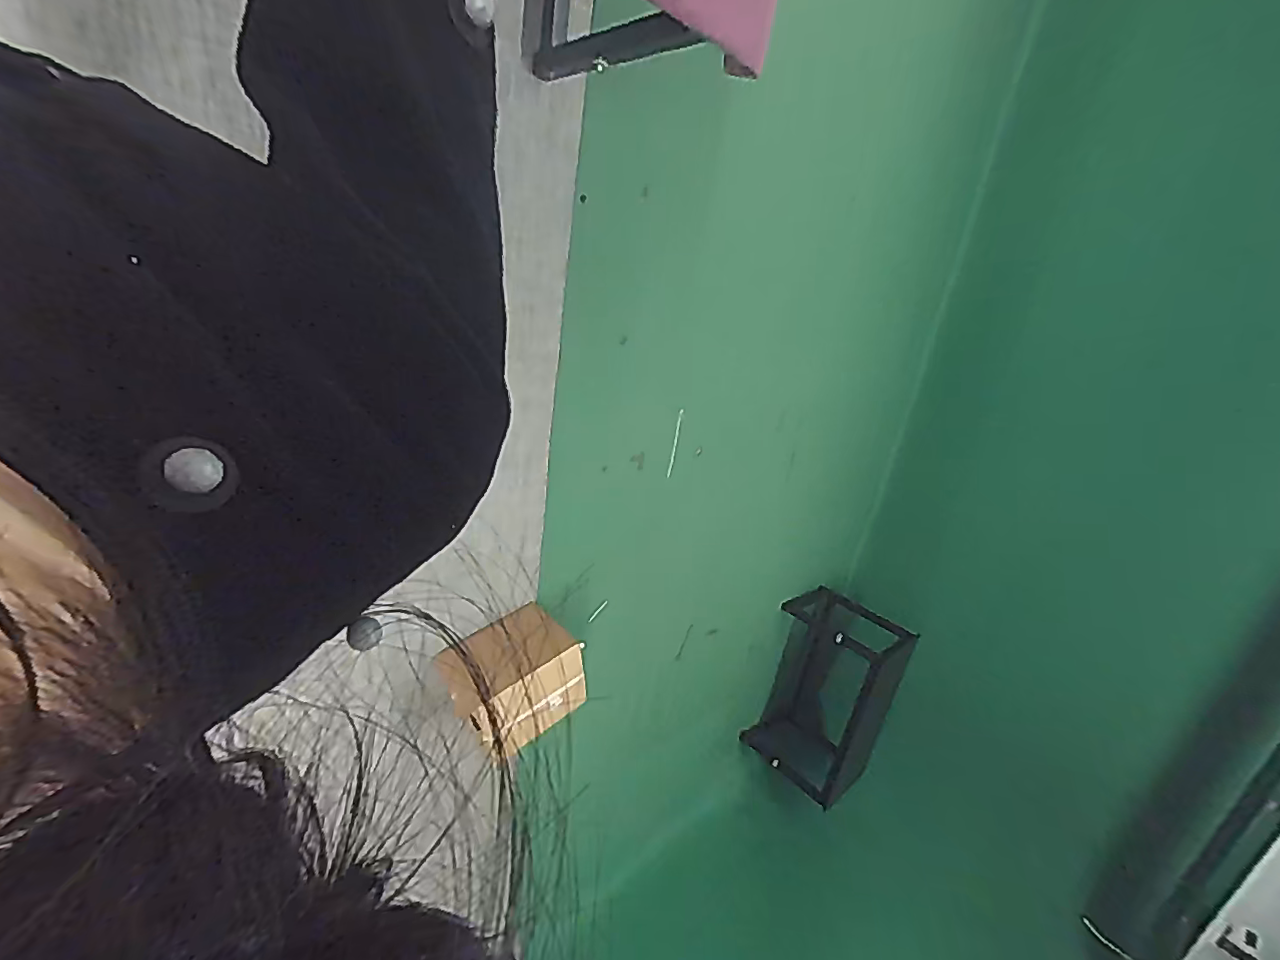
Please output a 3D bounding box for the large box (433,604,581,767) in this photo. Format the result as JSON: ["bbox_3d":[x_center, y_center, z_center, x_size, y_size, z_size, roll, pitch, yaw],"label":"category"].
[{"bbox_3d":[-0.479,0.731,1.981,0.408,0.320,0.320,-26,128,-36],"label":"large box"}]
